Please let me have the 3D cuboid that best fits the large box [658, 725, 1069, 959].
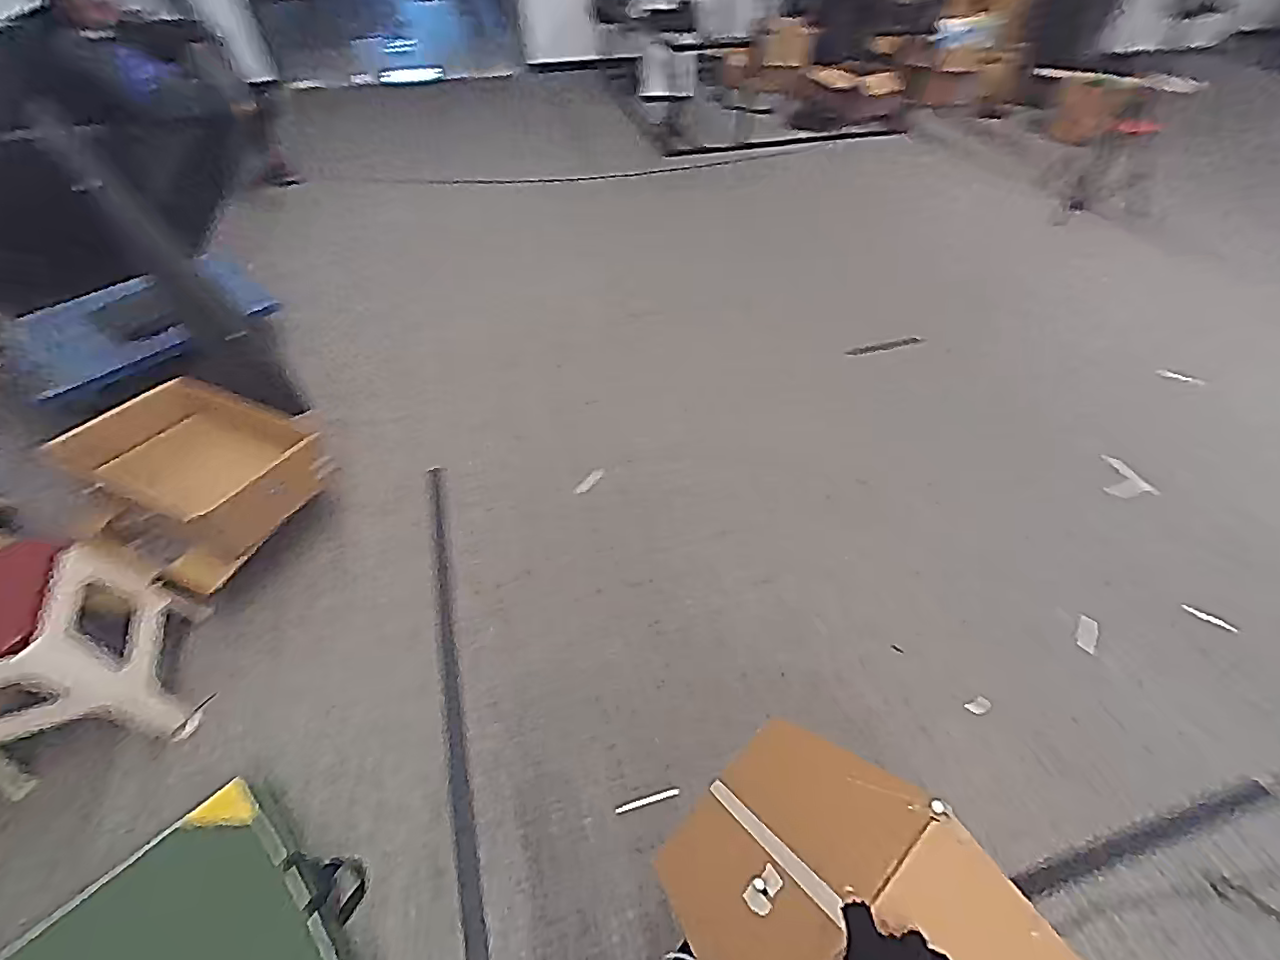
[{"bbox_3d":[0.277,0.604,0.725,0.320,0.408,0.320,-41,91,-16],"label":"large box"}]
